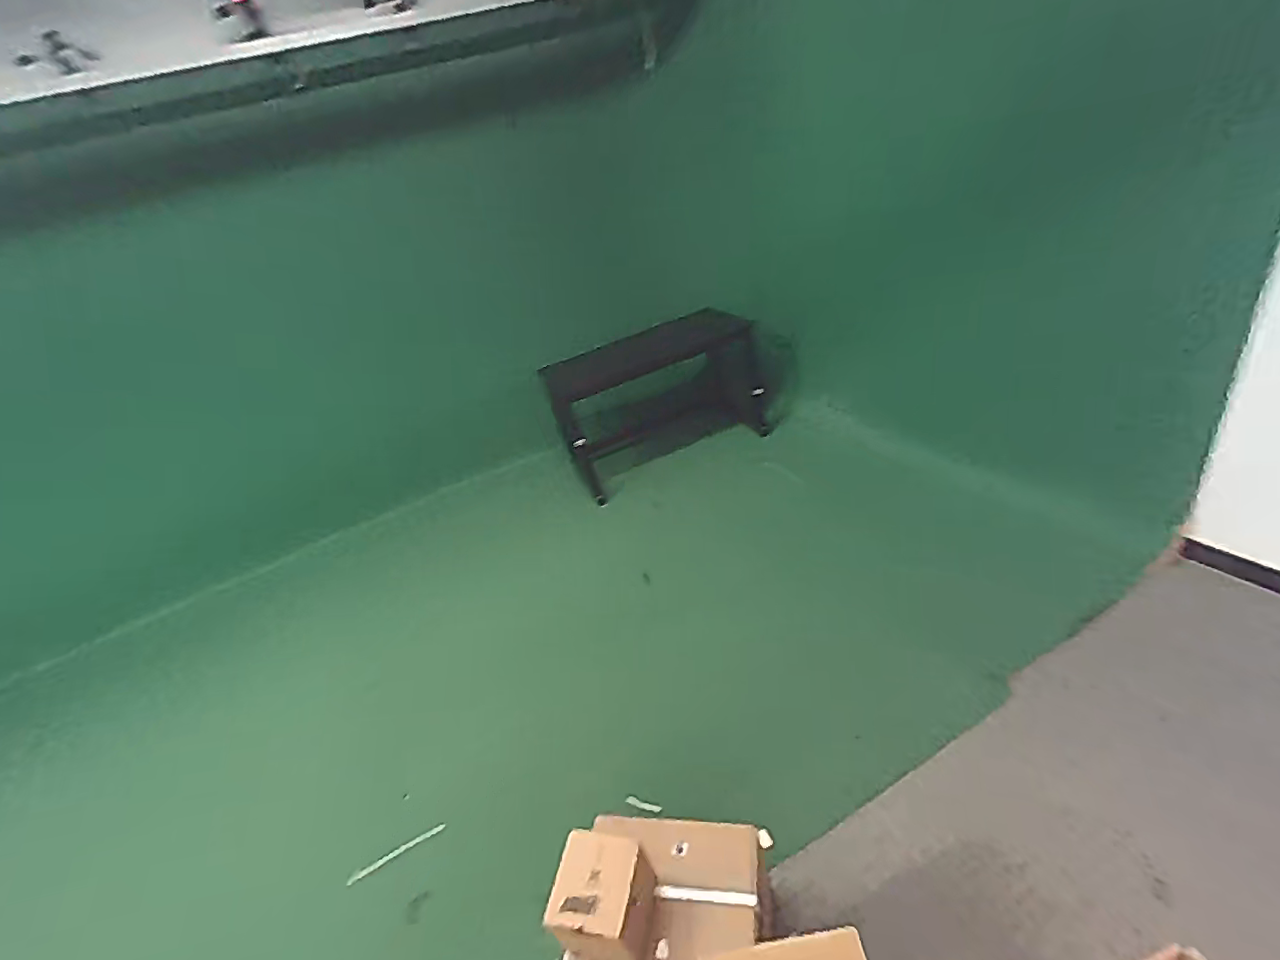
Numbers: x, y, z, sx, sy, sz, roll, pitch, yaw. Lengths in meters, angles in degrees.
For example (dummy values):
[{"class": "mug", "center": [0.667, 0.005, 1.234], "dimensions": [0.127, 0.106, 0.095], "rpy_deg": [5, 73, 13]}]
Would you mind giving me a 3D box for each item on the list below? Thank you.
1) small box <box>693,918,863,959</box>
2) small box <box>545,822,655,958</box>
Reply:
[{"class": "small box", "center": [0.153, 0.570, 0.530], "dimensions": [0.168, 0.176, 0.179], "rpy_deg": [-12, 41, 1]}, {"class": "small box", "center": [-0.075, 0.872, 1.152], "dimensions": [0.168, 0.176, 0.179], "rpy_deg": [-3, 33, 19]}]
